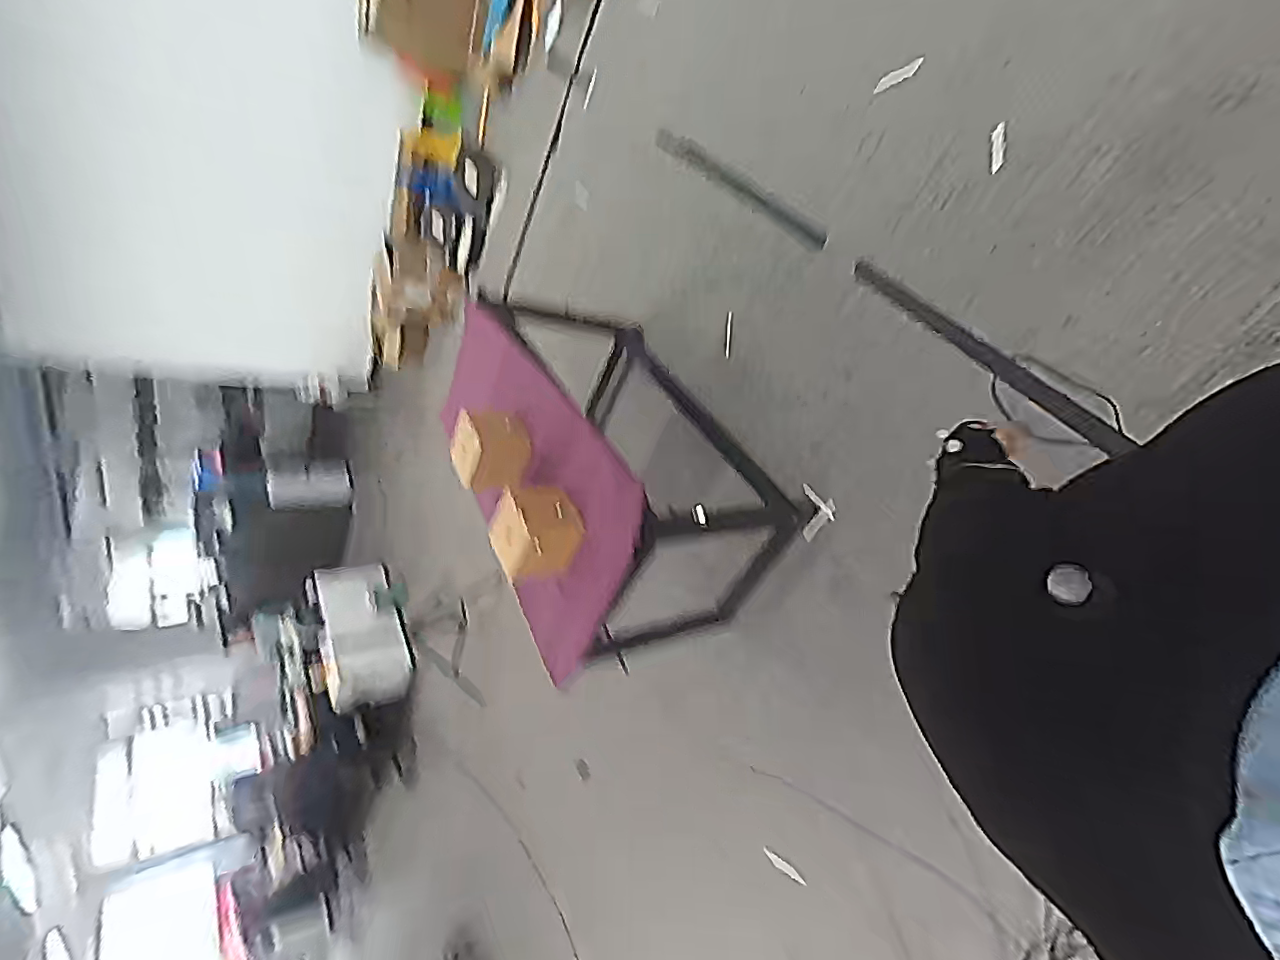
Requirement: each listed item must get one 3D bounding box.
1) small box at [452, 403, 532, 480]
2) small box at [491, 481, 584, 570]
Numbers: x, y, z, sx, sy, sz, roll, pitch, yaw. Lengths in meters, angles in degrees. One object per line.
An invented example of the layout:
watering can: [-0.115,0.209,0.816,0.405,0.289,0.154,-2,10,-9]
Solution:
small box: [-0.452,-0.115,1.656,0.168,0.176,0.179,53,128,33]
small box: [-0.276,0.120,1.459,0.168,0.176,0.179,53,127,35]
